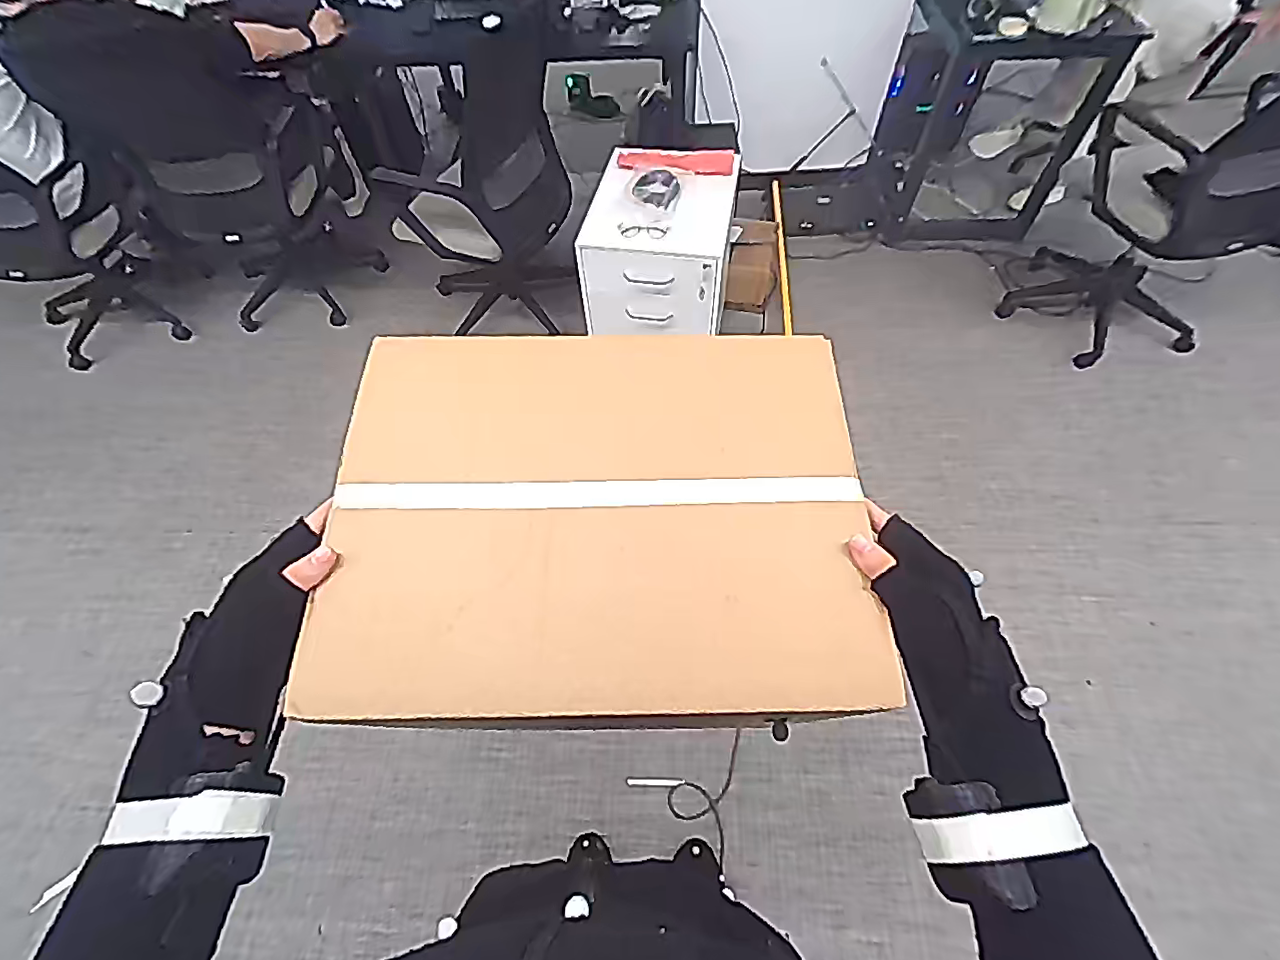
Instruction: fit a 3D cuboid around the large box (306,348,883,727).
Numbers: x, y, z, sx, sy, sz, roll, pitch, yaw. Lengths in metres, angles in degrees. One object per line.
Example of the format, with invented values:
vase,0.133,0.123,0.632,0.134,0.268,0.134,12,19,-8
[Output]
large box,-0.032,0.084,0.565,0.408,0.320,0.320,-1,64,-1
